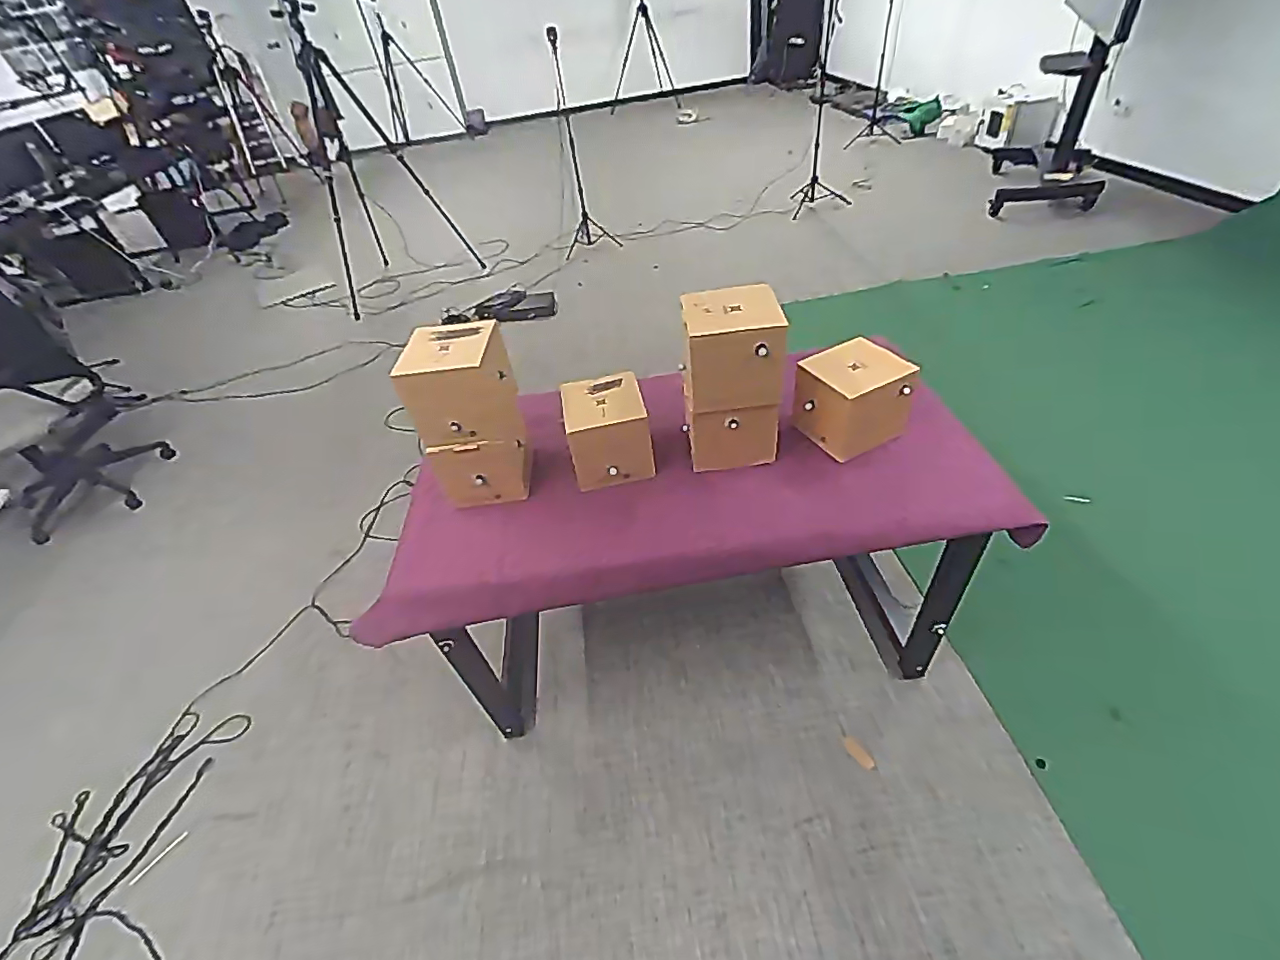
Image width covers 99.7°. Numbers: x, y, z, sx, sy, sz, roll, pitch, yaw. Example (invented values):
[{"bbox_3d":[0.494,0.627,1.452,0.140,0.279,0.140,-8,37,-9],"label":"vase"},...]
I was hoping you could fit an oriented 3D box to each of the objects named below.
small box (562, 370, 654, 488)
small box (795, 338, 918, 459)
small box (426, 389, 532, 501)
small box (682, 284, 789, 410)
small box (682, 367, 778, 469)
[{"bbox_3d":[-0.069,-0.109,1.162,0.168,0.176,0.179,-12,43,-2],"label":"small box"},{"bbox_3d":[0.445,-0.170,1.144,0.179,0.176,0.168,-23,44,-14],"label":"small box"},{"bbox_3d":[-0.335,-0.069,1.165,0.168,0.176,0.179,-7,44,1],"label":"small box"},{"bbox_3d":[0.176,-0.253,1.035,0.179,0.176,0.168,-6,43,4],"label":"small box"},{"bbox_3d":[0.188,-0.139,1.154,0.179,0.176,0.168,-6,44,3],"label":"small box"}]
